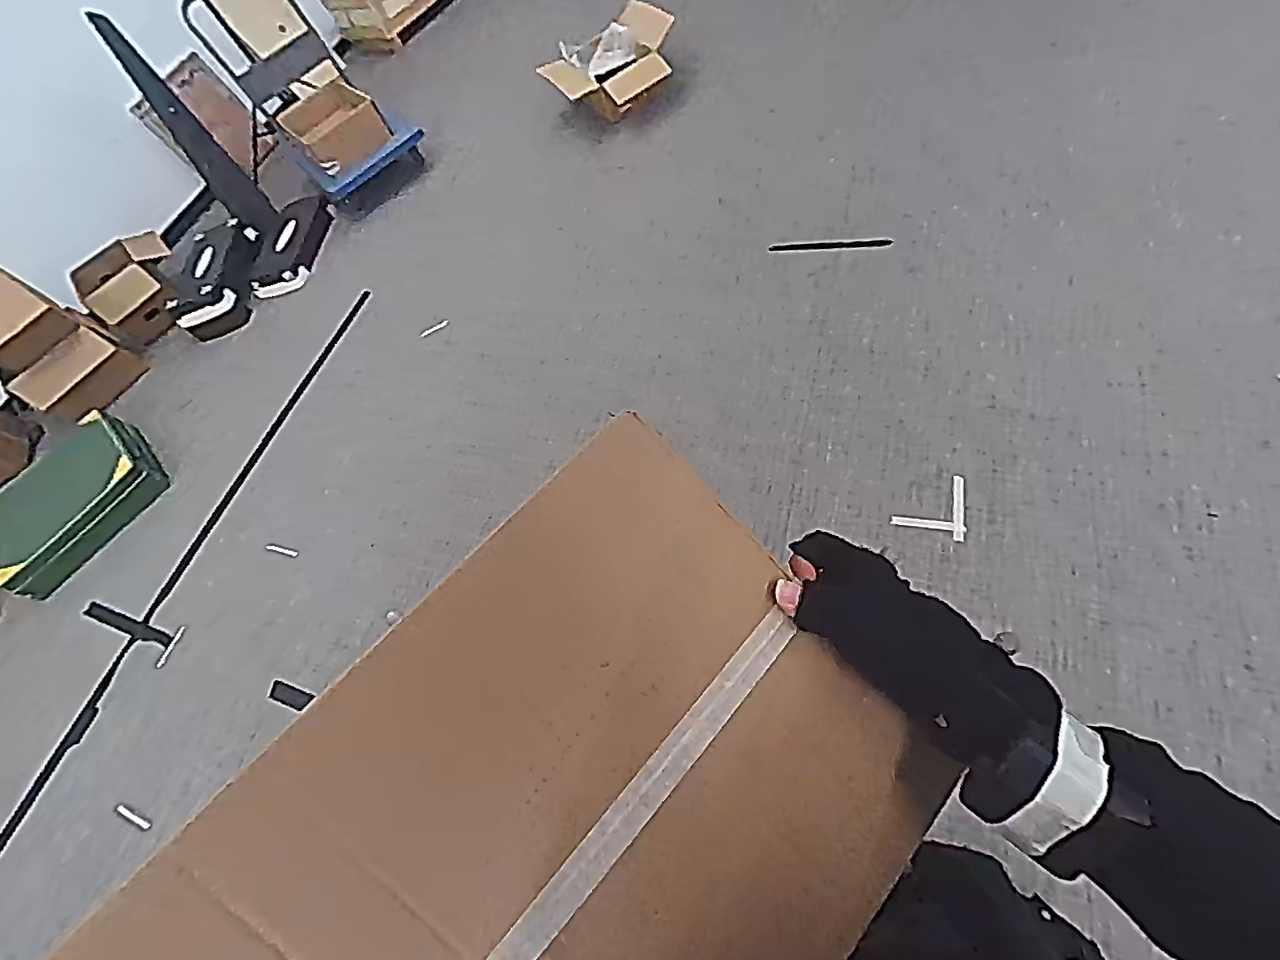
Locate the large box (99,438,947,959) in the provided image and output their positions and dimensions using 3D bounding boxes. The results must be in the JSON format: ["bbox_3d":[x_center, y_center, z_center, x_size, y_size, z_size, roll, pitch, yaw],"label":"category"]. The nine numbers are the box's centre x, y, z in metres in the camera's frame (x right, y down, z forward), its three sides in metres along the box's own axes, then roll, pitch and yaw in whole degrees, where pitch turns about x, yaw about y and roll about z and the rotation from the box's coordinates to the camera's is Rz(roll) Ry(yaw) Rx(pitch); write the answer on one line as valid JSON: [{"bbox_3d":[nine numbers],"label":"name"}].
[{"bbox_3d":[-0.066,0.232,0.437,0.320,0.320,0.408,45,75,-4],"label":"large box"}]
